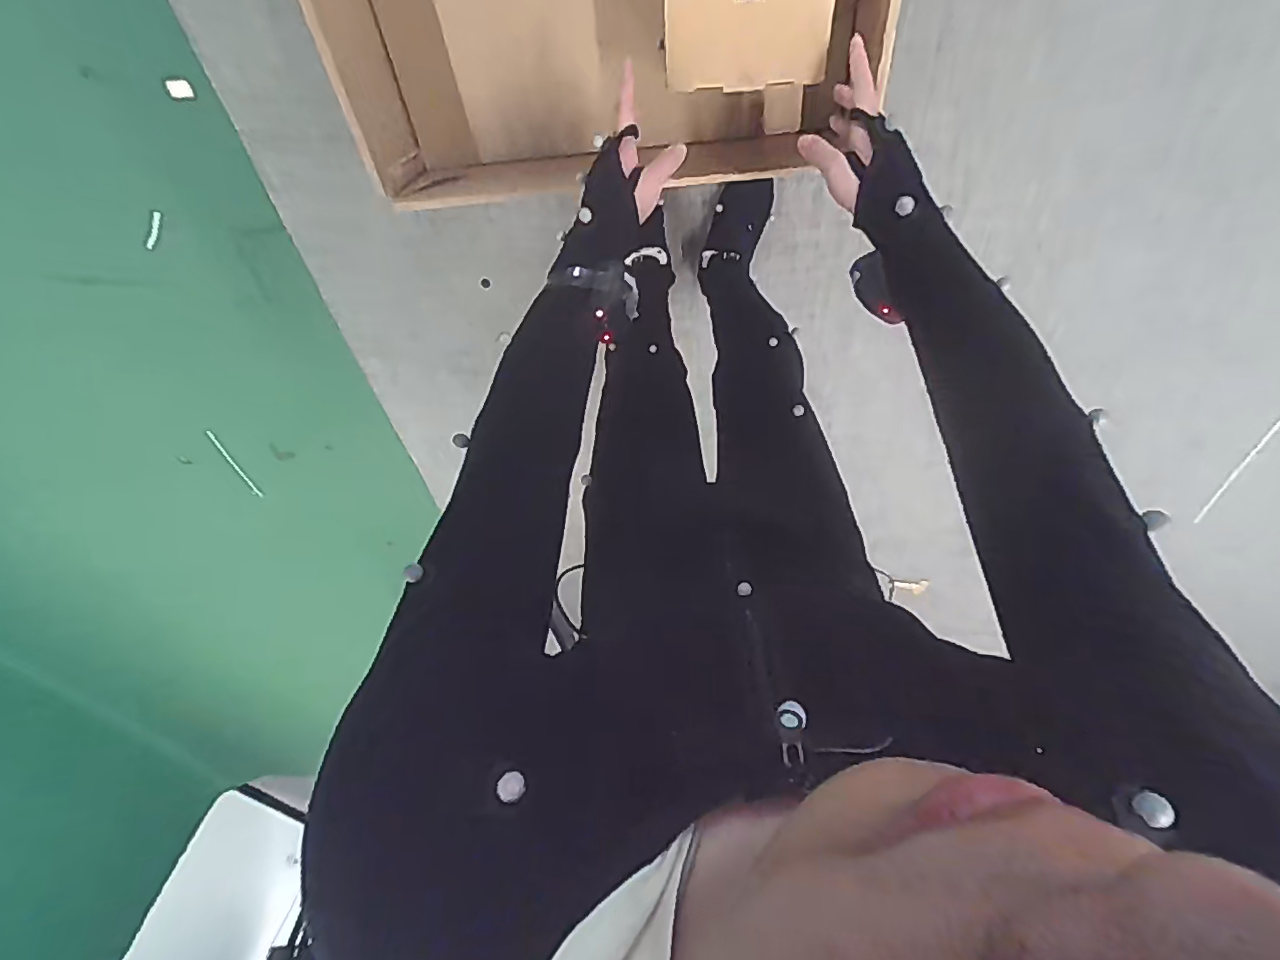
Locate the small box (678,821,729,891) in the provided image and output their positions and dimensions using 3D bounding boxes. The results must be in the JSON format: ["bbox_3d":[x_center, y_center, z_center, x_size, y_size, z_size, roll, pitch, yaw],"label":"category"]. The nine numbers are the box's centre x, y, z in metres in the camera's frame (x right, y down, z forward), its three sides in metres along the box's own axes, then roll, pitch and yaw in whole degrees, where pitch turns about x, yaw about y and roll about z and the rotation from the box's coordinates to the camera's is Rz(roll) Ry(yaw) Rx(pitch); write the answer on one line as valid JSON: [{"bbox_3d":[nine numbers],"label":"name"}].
[{"bbox_3d":[0.218,1.292,1.861,0.168,0.176,0.179,-3,133,9],"label":"small box"}]

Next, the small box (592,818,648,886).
[{"bbox_3d":[-0.064,1.303,1.901,0.168,0.176,0.179,-4,132,8],"label":"small box"}]
